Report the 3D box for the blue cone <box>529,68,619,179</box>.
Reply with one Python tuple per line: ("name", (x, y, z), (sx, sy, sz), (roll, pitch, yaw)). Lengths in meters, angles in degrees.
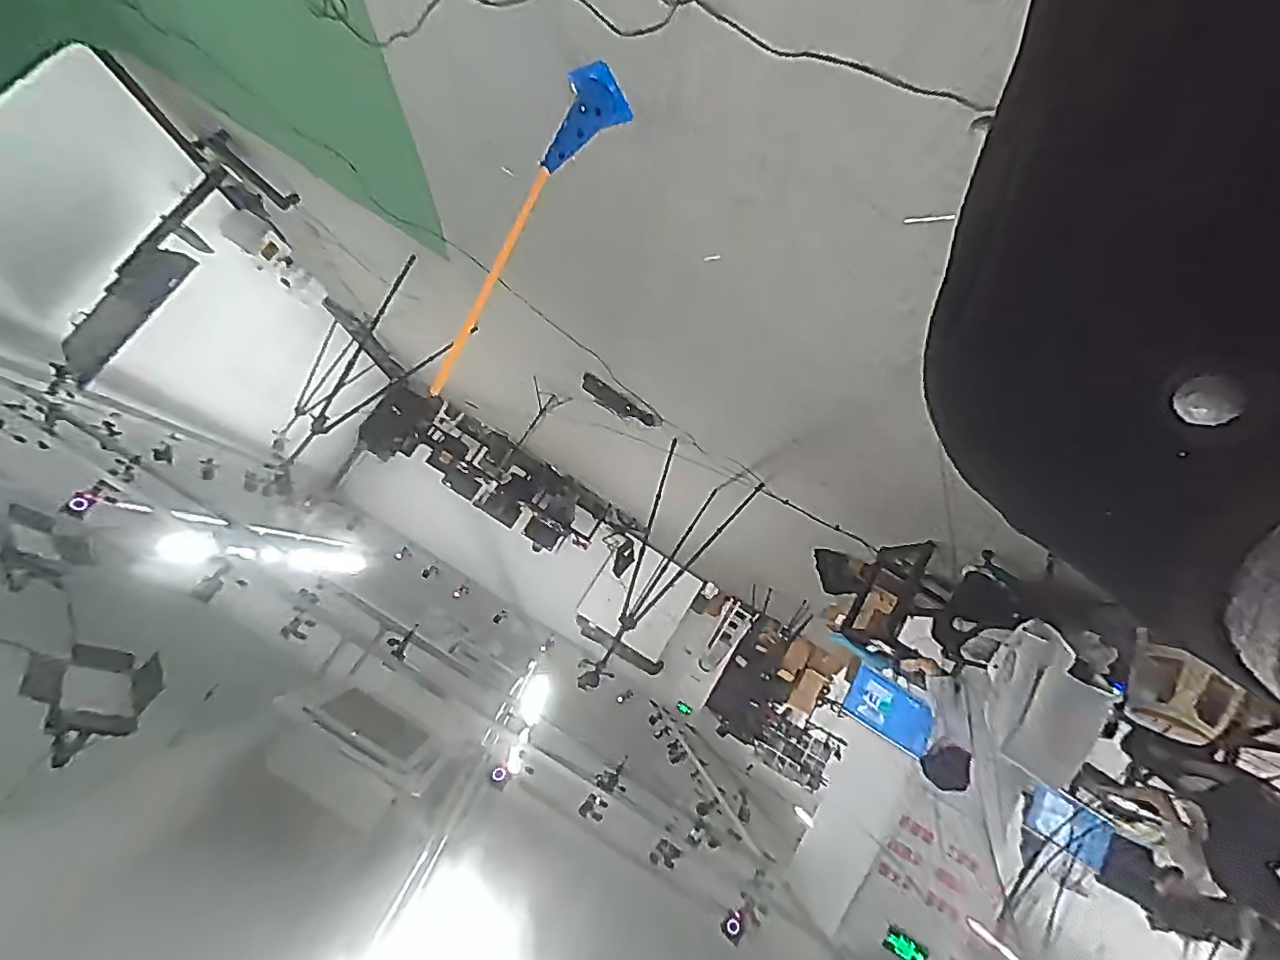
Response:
("blue cone", (-0.252, -1.160, 1.811), (0.192, 0.380, 0.193), (19, 163, 42))
